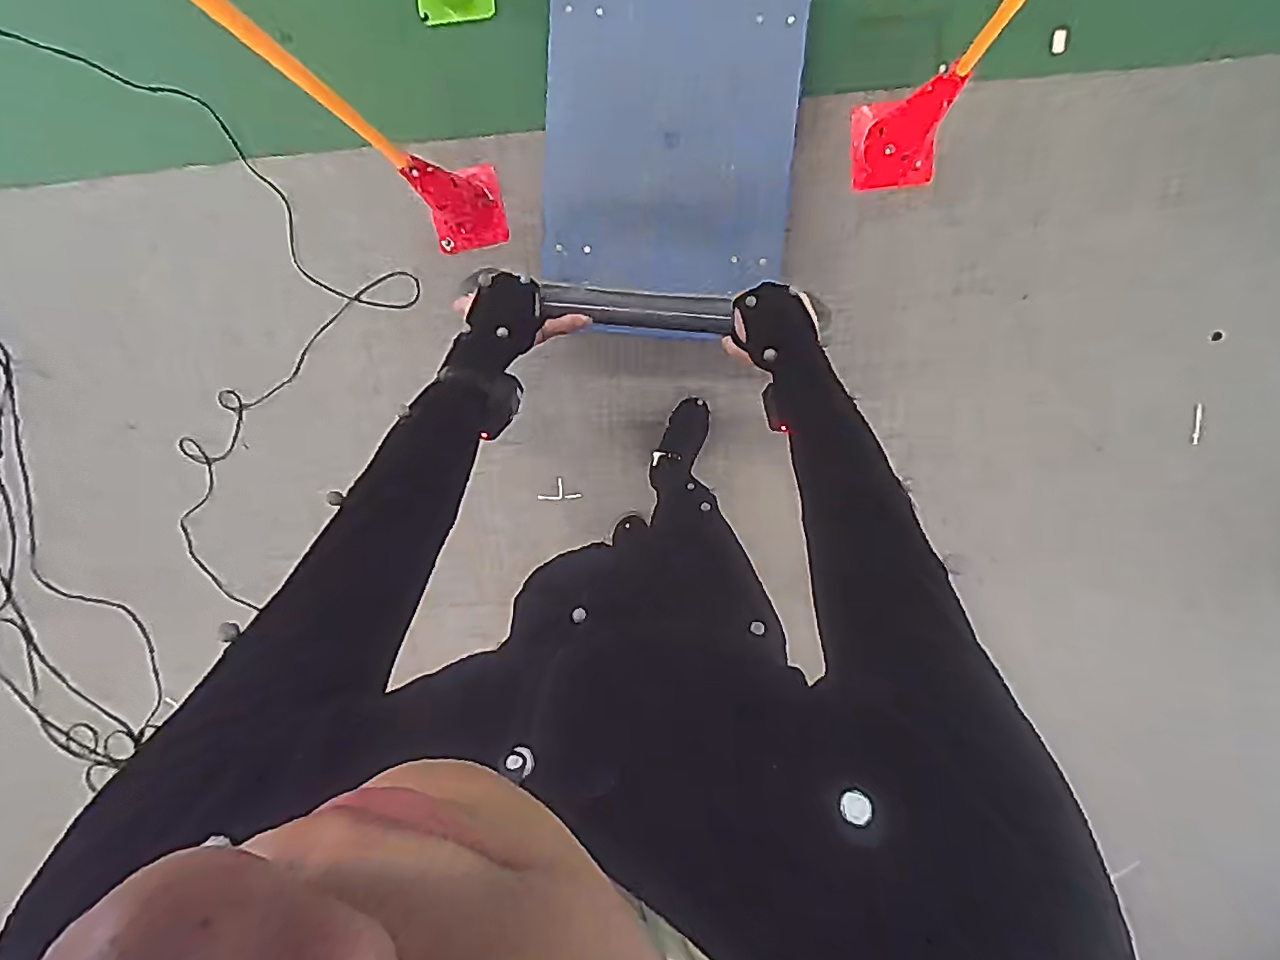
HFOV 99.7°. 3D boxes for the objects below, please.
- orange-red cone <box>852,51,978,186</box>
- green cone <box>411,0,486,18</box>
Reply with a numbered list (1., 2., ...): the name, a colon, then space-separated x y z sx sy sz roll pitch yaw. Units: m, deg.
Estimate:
1. orange-red cone: 0.617 -0.808 1.173 0.198 0.360 0.199 -3 99 4
2. green cone: -0.495 -1.232 1.167 0.200 0.368 0.202 -3 100 6
